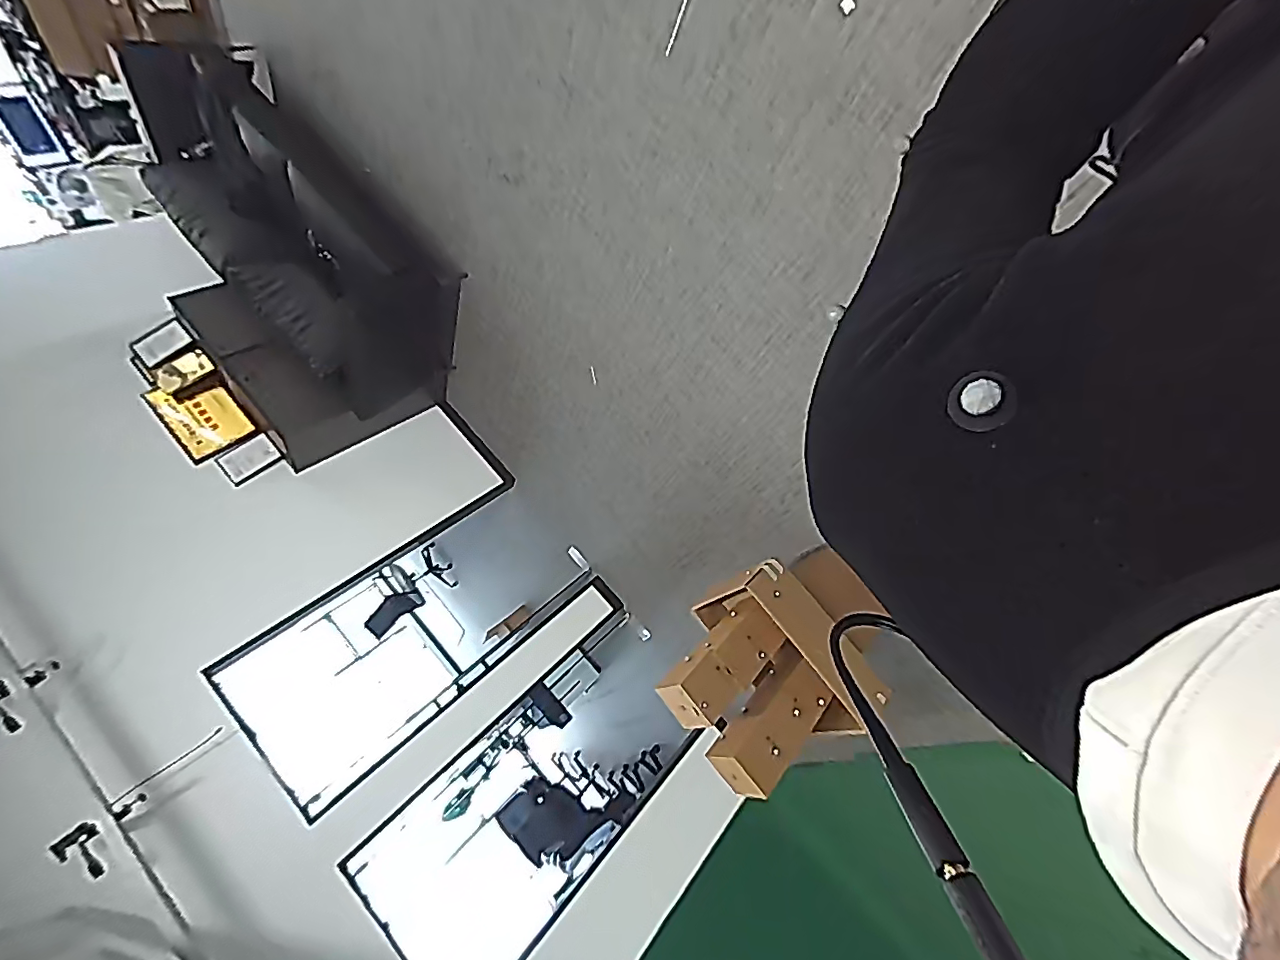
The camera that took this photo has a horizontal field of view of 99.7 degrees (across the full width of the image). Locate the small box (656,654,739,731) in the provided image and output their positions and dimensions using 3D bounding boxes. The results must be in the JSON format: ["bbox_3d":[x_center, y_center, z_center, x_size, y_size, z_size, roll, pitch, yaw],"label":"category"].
[{"bbox_3d":[0.189,0.692,1.762,0.168,0.176,0.179,52,145,3],"label":"small box"}]

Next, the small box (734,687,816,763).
[{"bbox_3d":[0.463,0.833,1.845,0.168,0.176,0.179,50,145,4],"label":"small box"}]

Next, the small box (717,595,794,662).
[{"bbox_3d":[0.418,0.539,1.943,0.168,0.176,0.179,52,145,4],"label":"small box"}]

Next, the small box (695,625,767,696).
[{"bbox_3d":[0.307,0.618,1.850,0.168,0.176,0.179,52,146,3],"label":"small box"}]

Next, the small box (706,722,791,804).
[{"bbox_3d":[0.353,0.911,1.753,0.168,0.176,0.179,51,146,3],"label":"small box"}]
